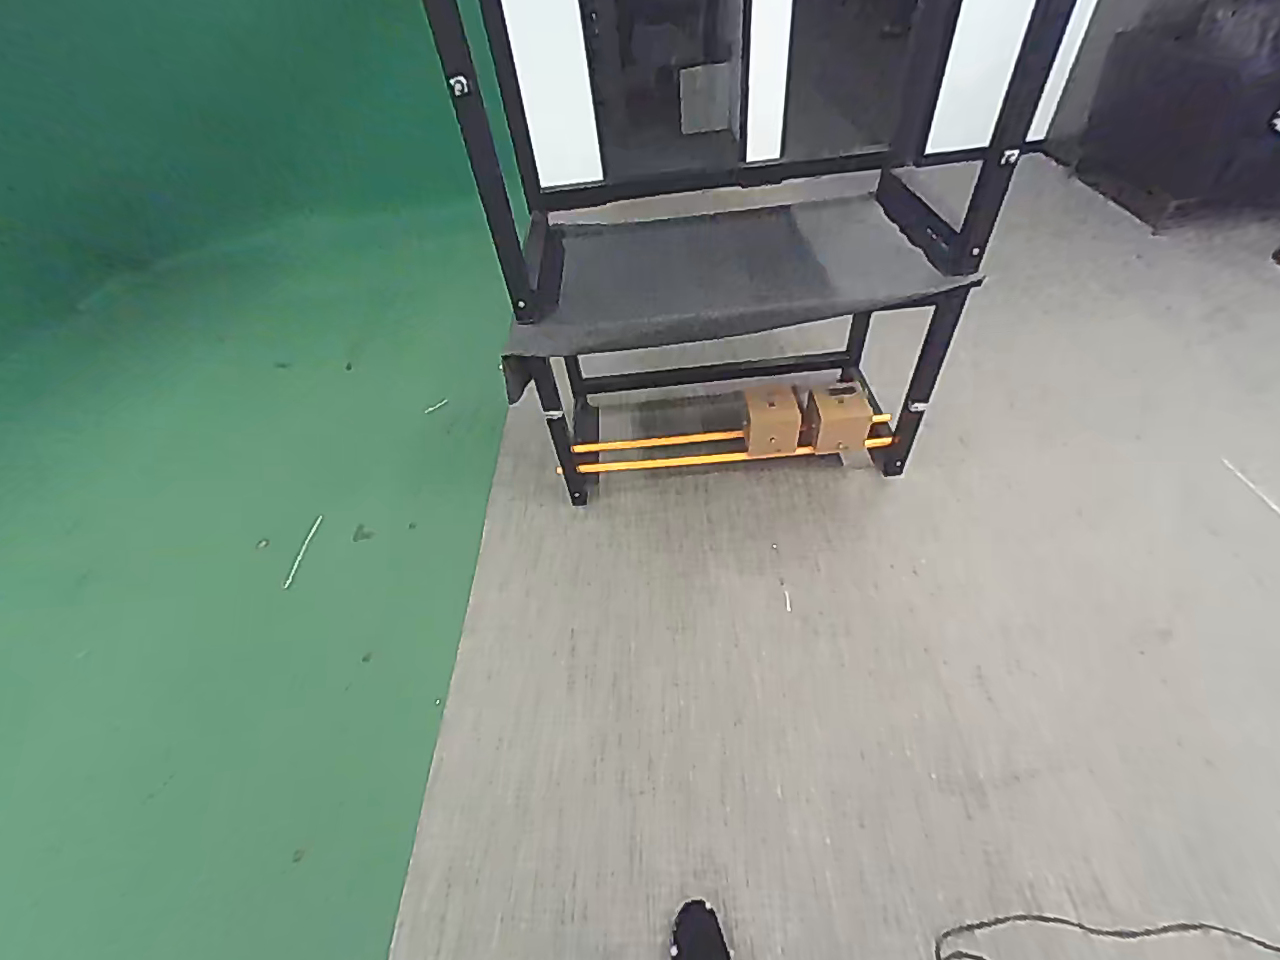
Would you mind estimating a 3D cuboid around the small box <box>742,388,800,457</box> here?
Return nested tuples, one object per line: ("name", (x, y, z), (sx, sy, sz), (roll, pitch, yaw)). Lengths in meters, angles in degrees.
("small box", (0.450, -0.193, 1.878), (0.168, 0.176, 0.179), (-5, 48, 2))
